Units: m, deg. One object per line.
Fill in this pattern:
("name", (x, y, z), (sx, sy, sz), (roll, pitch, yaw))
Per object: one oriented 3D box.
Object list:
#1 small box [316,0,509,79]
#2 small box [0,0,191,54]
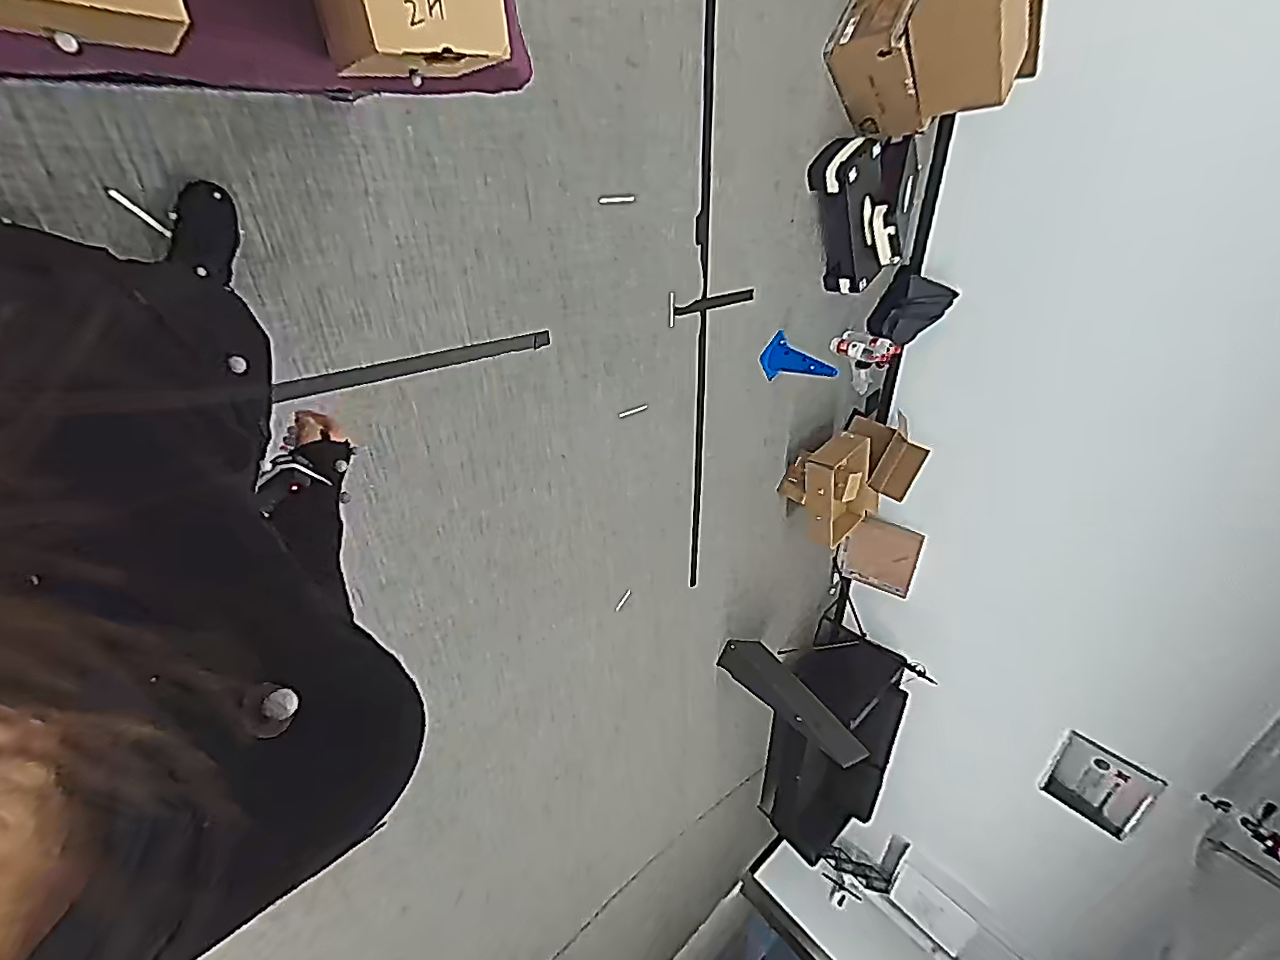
("small box", (-0.278, -0.590, 0.631), (0.168, 0.176, 0.179), (-26, 128, -31))
("small box", (-0.516, -0.489, 0.452), (0.168, 0.176, 0.179), (-21, 126, -36))
